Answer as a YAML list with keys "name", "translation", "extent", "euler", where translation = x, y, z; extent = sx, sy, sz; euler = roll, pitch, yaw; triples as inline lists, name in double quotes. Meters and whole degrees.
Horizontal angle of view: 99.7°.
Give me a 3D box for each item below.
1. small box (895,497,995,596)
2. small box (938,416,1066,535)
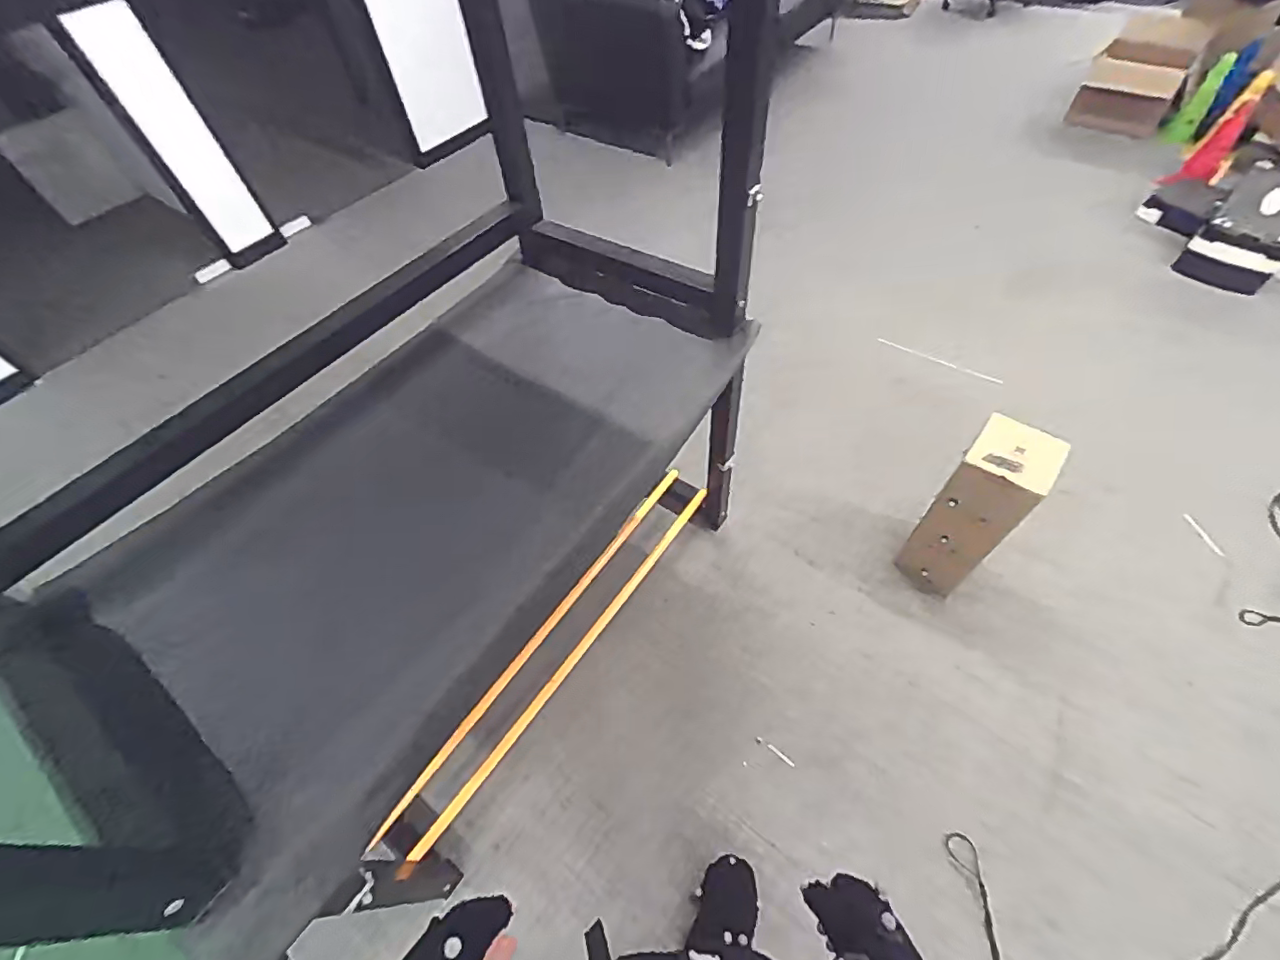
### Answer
- name: "small box"
  translation: [0.836, 0.186, 1.496]
  extent: [0.168, 0.176, 0.179]
  euler: [35, 64, 26]
- name: "small box"
  translation: [0.811, -0.006, 1.232]
  extent: [0.168, 0.176, 0.179]
  euler: [33, 63, 24]
